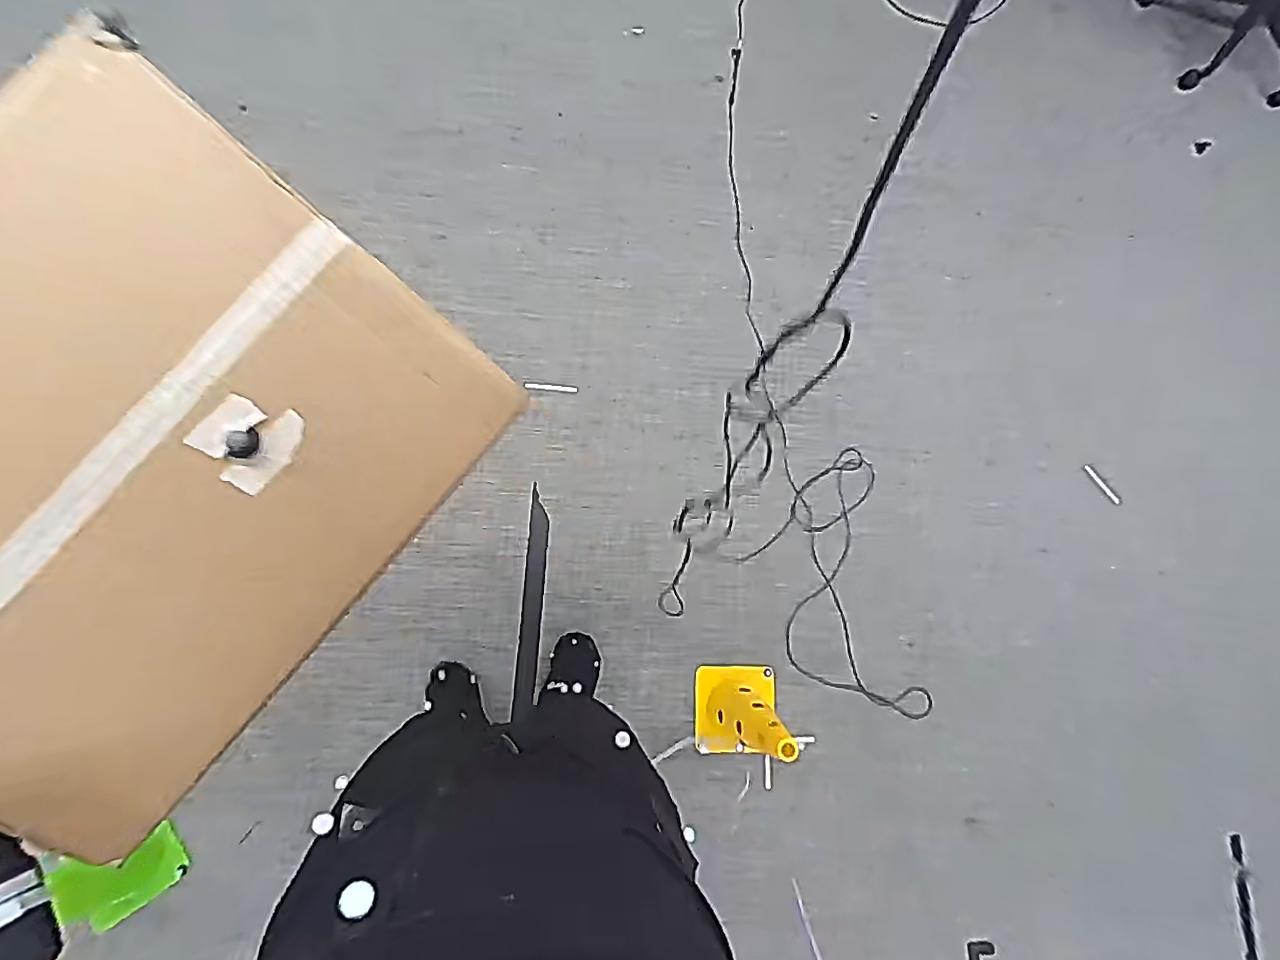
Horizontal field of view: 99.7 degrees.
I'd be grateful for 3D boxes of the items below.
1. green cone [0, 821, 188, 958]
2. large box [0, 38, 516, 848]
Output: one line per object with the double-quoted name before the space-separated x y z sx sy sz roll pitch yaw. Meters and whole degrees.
"green cone" -1.070 0.764 0.970 0.202 0.368 0.200 -34 83 -10
"large box" -0.361 -0.019 0.471 0.320 0.320 0.408 41 84 -17
